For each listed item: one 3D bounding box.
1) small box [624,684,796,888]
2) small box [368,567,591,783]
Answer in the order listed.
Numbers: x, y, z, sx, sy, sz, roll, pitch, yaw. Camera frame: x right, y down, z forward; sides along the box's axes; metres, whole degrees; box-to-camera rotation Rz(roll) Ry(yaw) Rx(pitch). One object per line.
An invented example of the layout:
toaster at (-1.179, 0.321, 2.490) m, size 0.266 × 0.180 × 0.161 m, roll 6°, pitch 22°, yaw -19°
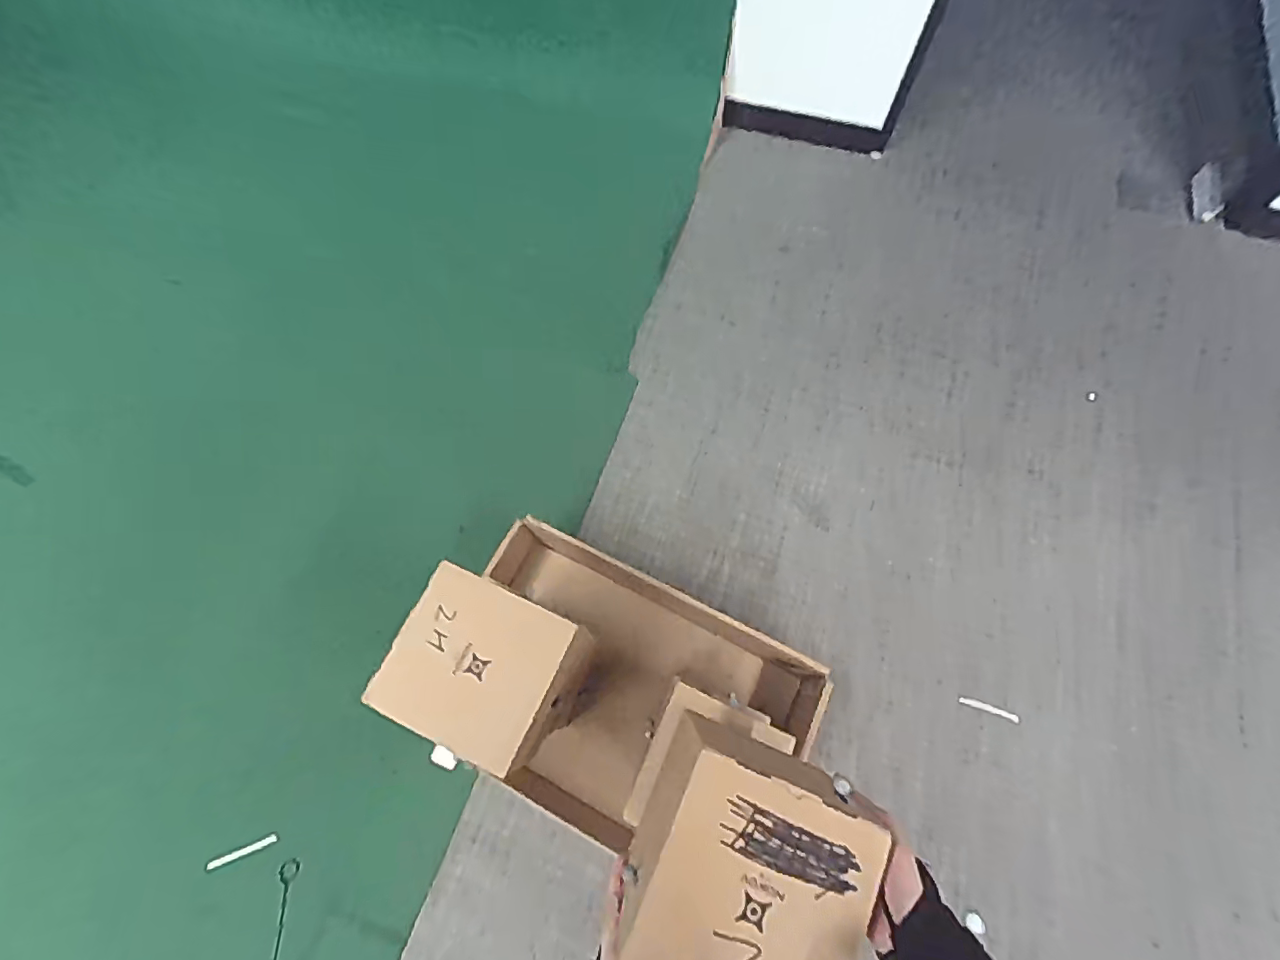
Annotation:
small box at (0.093, 0.403, 0.745) m, size 0.168 × 0.176 × 0.179 m, roll 23°, pitch 70°, yaw 11°
small box at (-0.172, 0.226, 0.648) m, size 0.179 × 0.176 × 0.168 m, roll 24°, pitch 71°, yaw 9°
